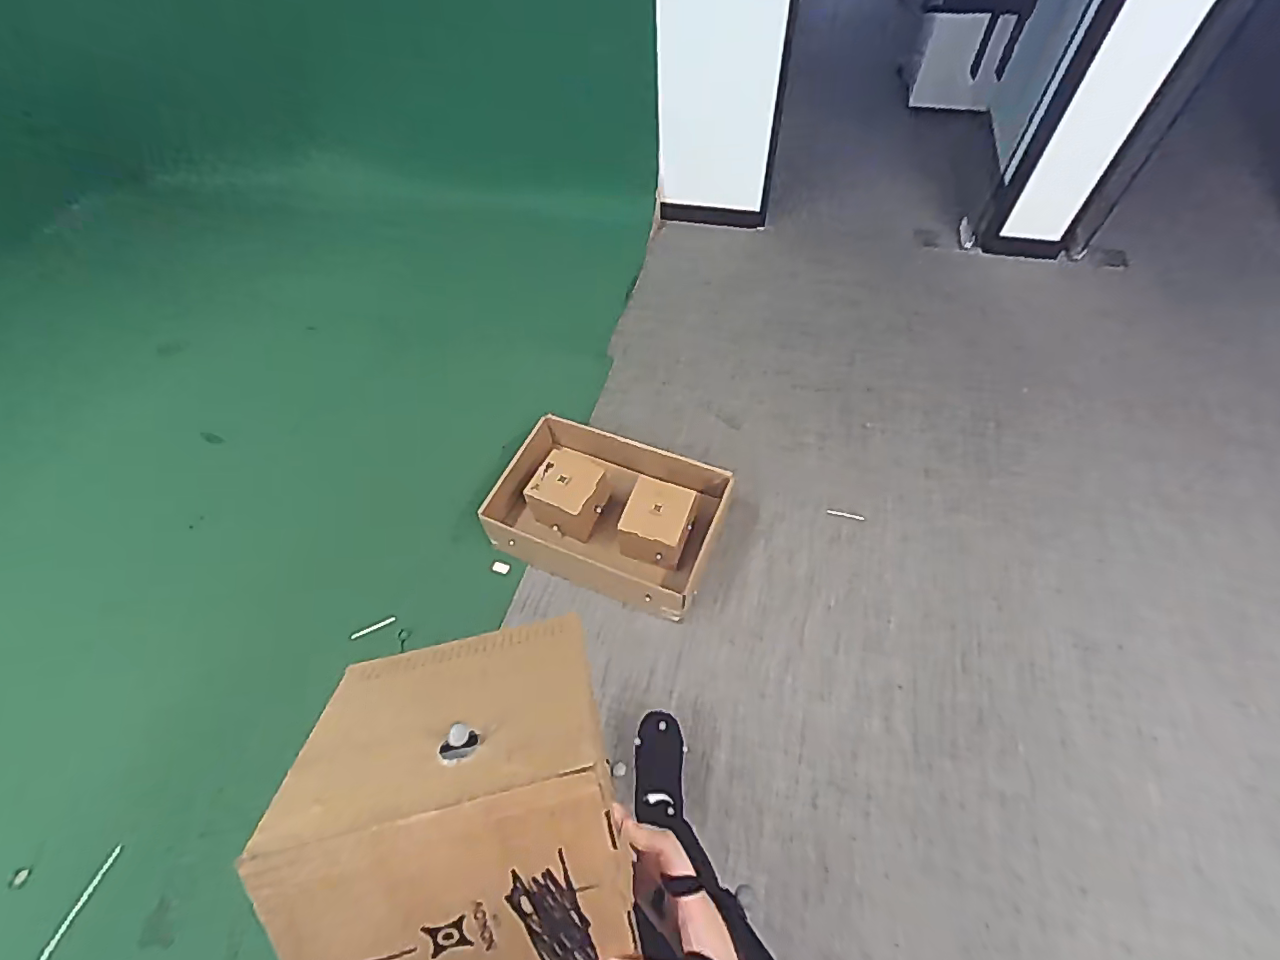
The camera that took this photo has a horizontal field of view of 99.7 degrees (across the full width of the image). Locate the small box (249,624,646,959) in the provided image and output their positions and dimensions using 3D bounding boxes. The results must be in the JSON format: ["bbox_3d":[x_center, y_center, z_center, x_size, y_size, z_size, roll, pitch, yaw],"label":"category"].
[{"bbox_3d":[-0.106,0.220,0.365,0.179,0.168,0.176,-11,15,-7],"label":"small box"}]
